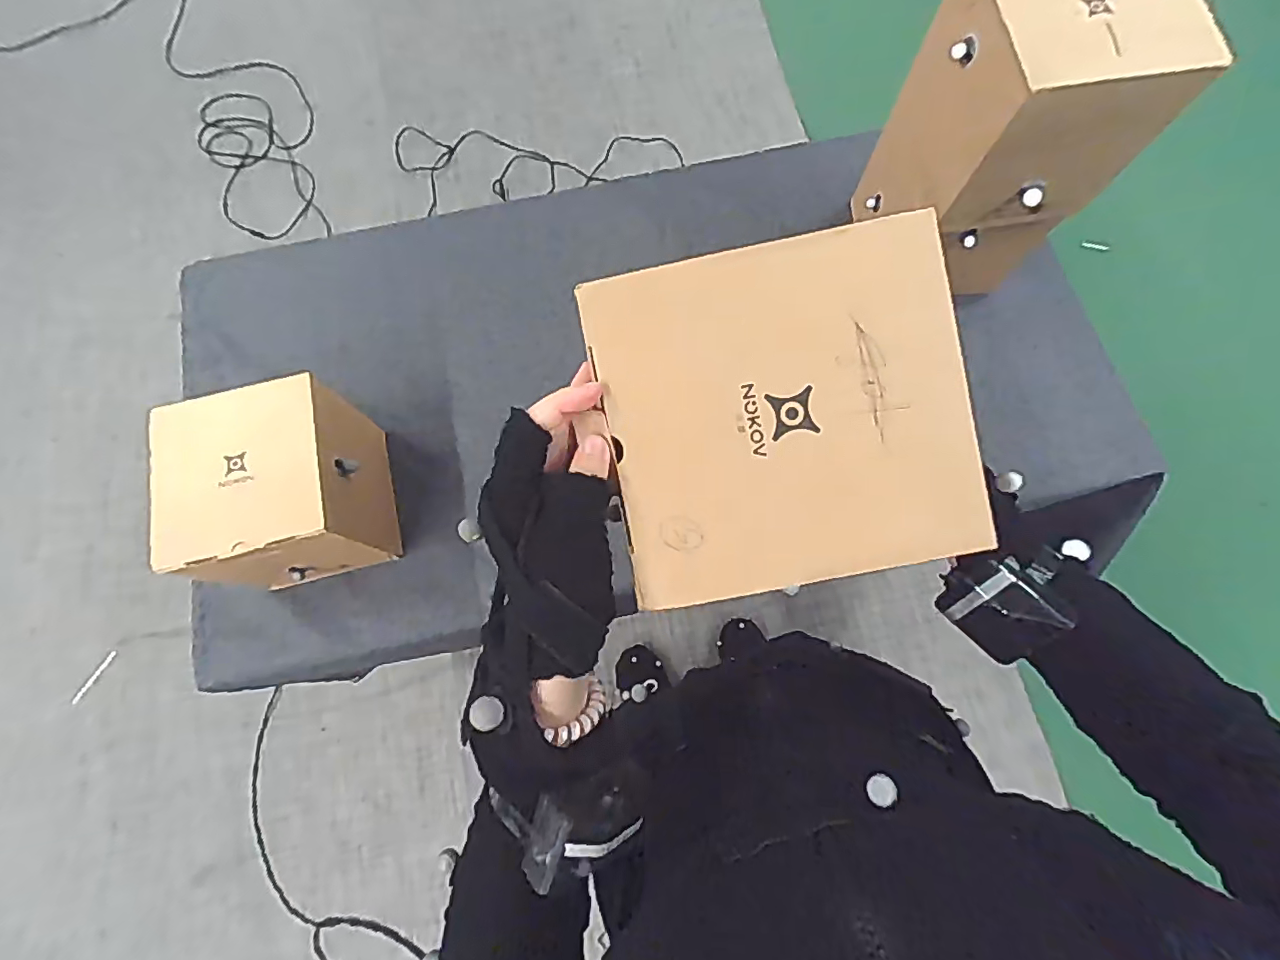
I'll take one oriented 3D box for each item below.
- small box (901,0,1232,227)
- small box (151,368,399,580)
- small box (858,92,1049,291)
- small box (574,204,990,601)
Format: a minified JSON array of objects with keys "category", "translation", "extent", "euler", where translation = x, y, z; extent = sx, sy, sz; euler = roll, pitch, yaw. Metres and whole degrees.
[{"category":"small box","translation":[0.383,-0.383,0.528],"extent":[0.168,0.176,0.179],"euler":[-7,76,0]},{"category":"small box","translation":[-0.396,0.003,0.611],"extent":[0.168,0.176,0.179],"euler":[-14,75,-3]},{"category":"small box","translation":[0.393,-0.358,0.691],"extent":[0.179,0.176,0.168],"euler":[-1,75,1]},{"category":"small box","translation":[0.070,-0.037,0.337],"extent":[0.179,0.176,0.168],"euler":[-11,92,2]}]
